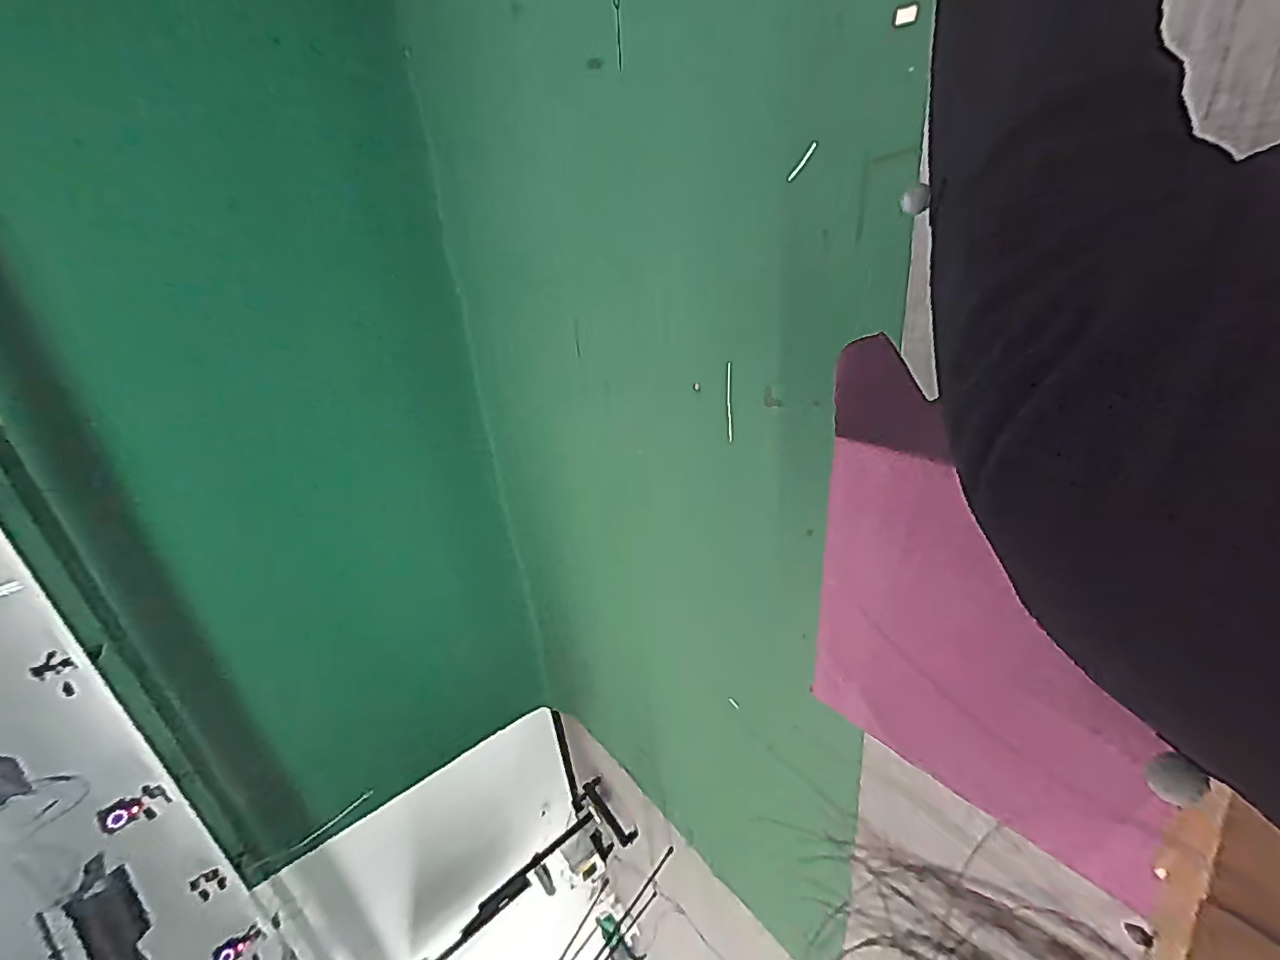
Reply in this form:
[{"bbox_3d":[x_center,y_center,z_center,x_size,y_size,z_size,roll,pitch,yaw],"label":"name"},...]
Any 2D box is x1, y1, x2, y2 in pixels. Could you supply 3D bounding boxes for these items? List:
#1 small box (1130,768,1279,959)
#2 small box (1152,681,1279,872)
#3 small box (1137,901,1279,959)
[{"bbox_3d":[0.539,0.384,0.433,0.168,0.176,0.179,26,129,44],"label":"small box"},{"bbox_3d":[0.663,0.343,0.532,0.168,0.176,0.179,28,130,43],"label":"small box"},{"bbox_3d":[0.410,0.429,0.341,0.168,0.176,0.179,27,131,44],"label":"small box"}]
